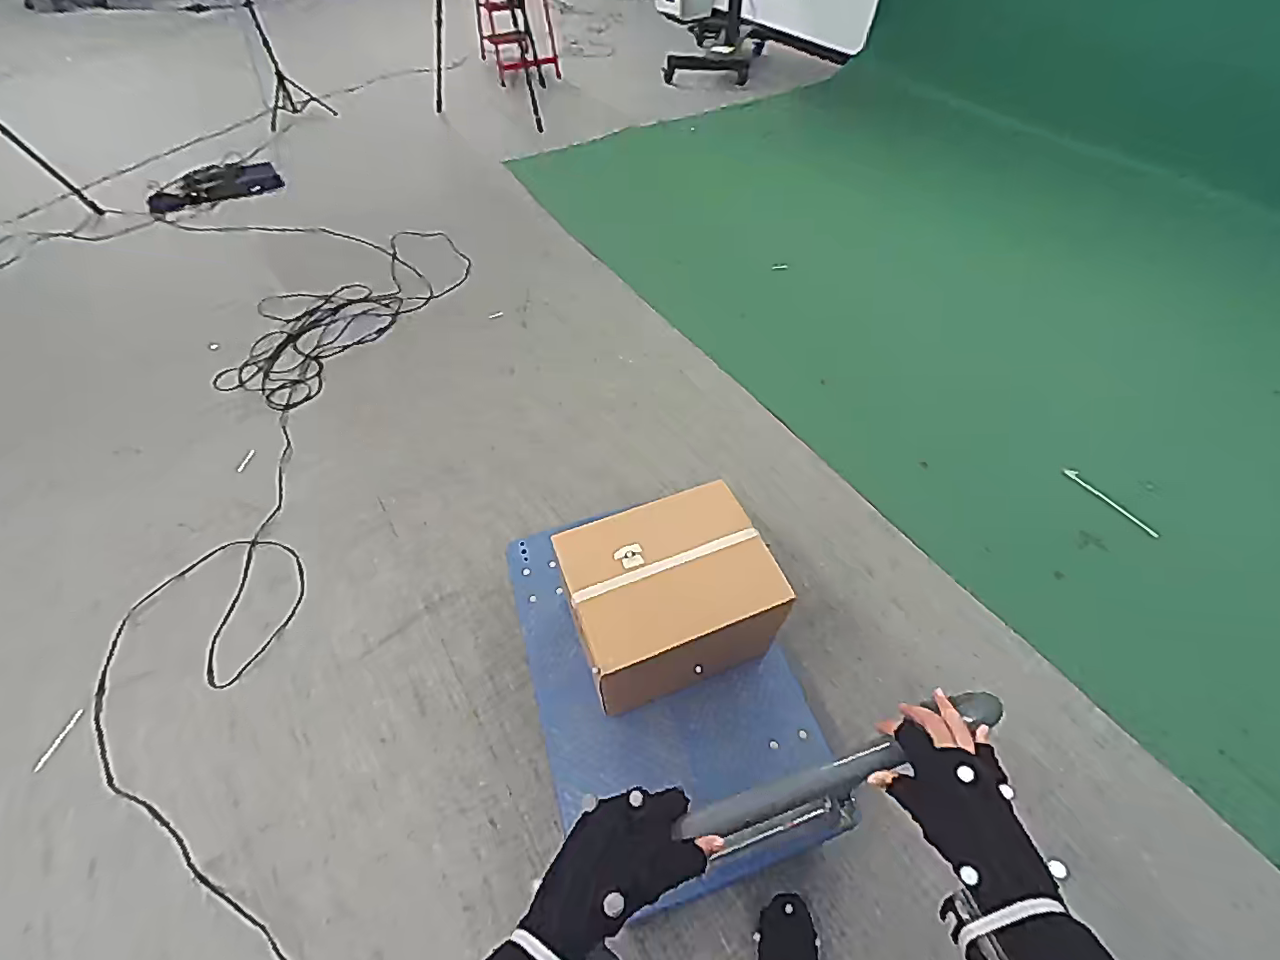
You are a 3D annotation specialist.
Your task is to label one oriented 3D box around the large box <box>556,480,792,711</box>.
[{"bbox_3d":[0.066,0.263,1.222,0.408,0.320,0.320,-20,56,-12],"label":"large box"}]
